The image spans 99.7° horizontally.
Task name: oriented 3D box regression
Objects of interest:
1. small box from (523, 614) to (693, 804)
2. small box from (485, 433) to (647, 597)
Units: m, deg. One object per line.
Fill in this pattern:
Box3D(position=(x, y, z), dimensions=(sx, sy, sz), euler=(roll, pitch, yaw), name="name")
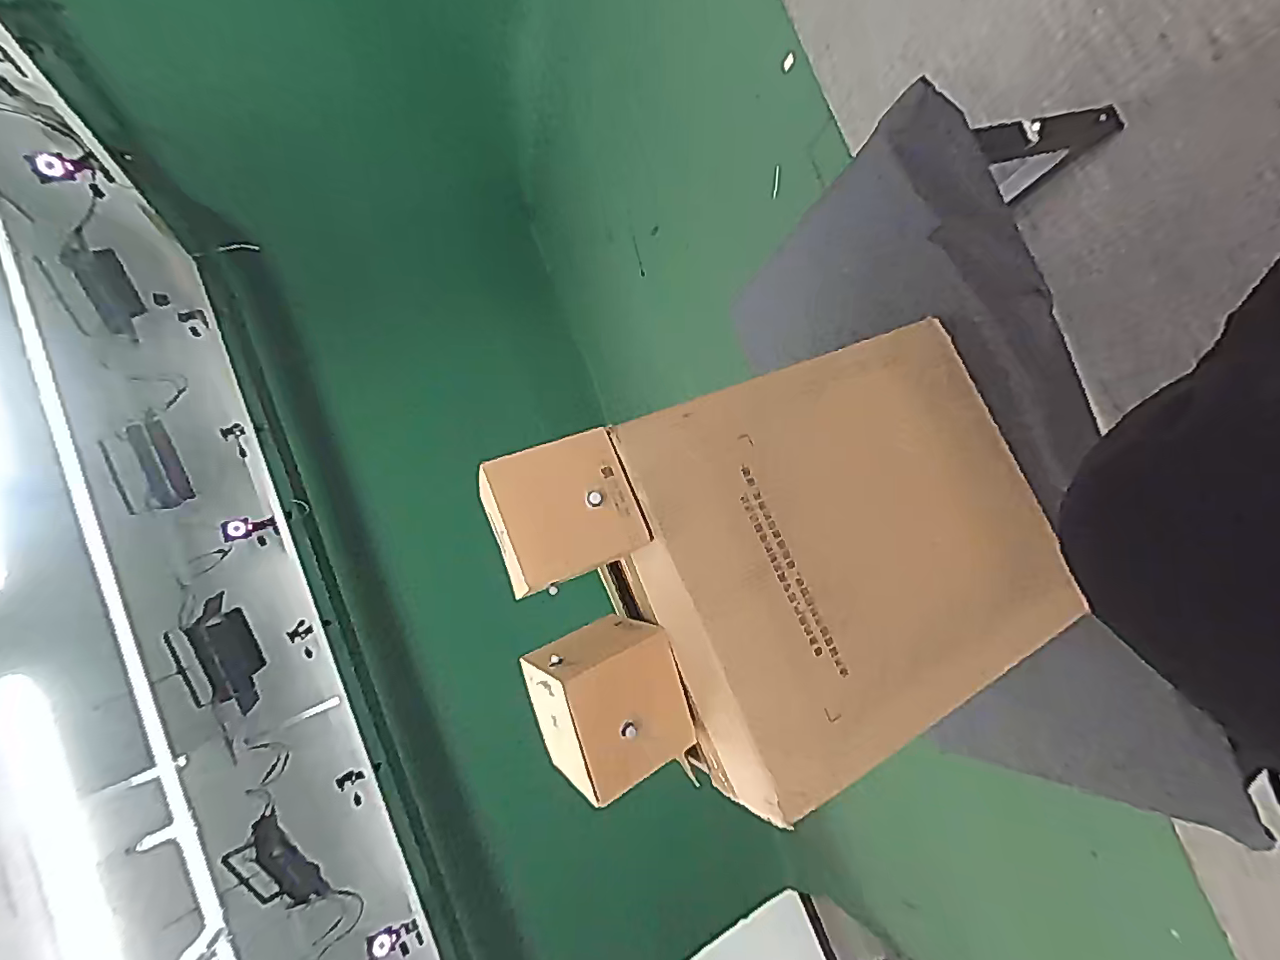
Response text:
Box3D(position=(-0.046, 0.321, 0.799), dimensions=(0.168, 0.176, 0.179), euler=(-10, 98, 58), name="small box")
Box3D(position=(-0.108, 0.053, 0.756), dimensions=(0.168, 0.176, 0.179), euler=(67, 159, 8), name="small box")
